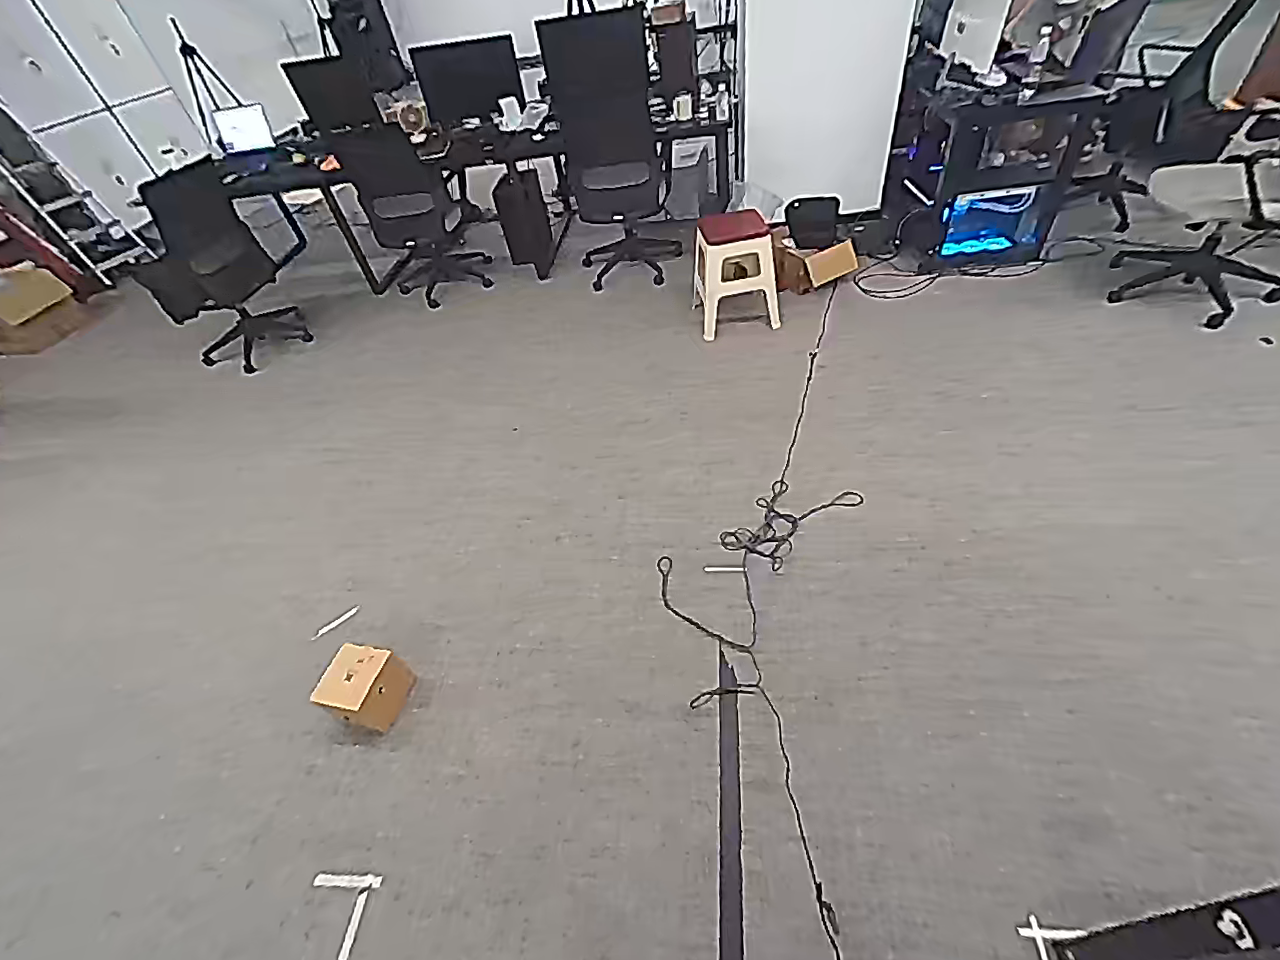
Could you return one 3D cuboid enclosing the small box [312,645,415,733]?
[{"bbox_3d":[-0.787,0.607,1.562,0.168,0.176,0.179,5,47,15],"label":"small box"}]
